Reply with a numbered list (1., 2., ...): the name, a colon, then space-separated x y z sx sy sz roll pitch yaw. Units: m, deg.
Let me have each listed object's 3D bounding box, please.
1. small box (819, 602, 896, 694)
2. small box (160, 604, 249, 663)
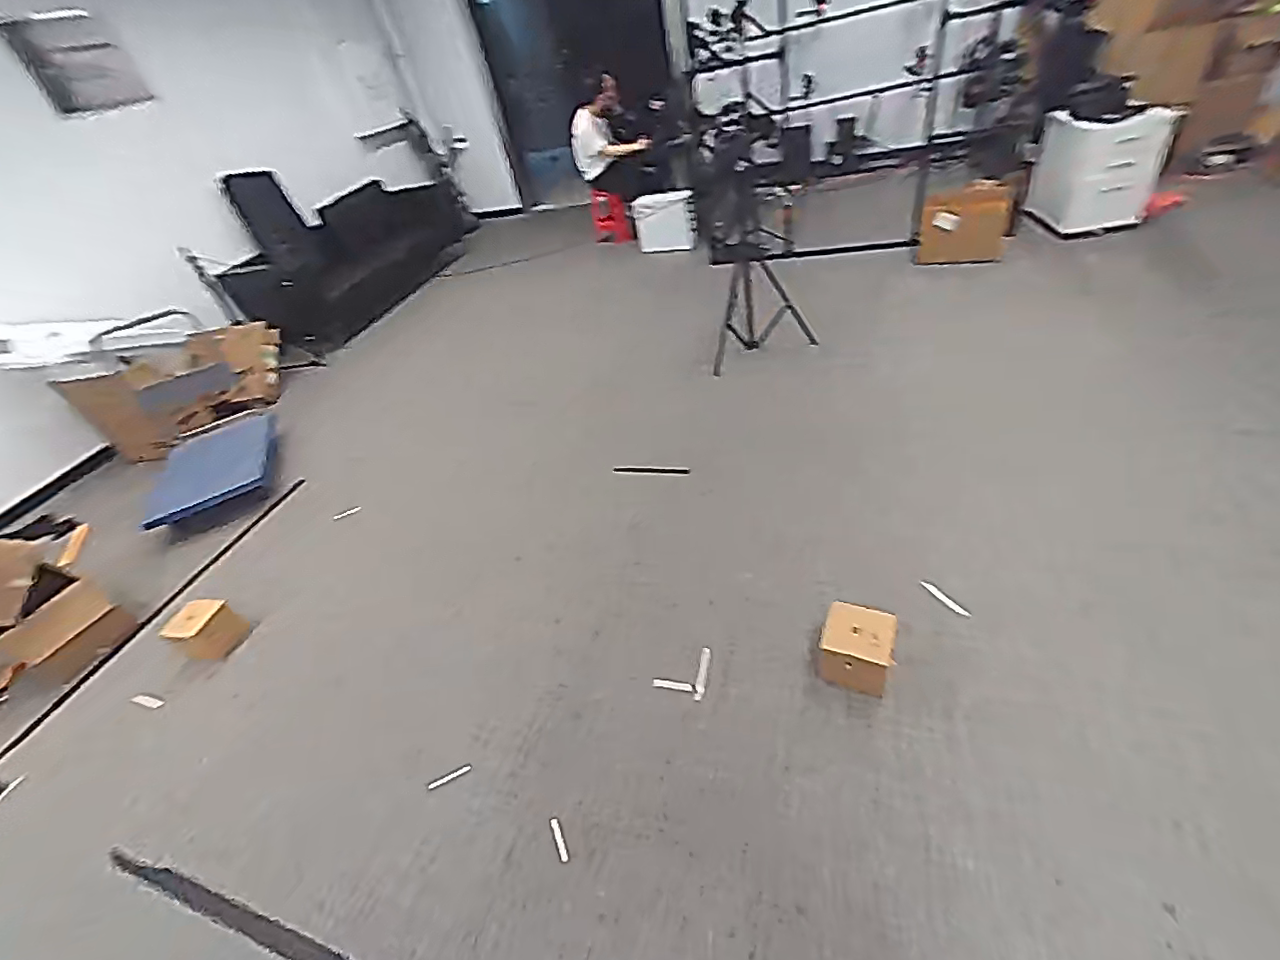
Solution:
1. small box: 0.616 0.478 1.535 0.179 0.176 0.168 10 46 27
2. small box: -1.703 0.606 2.127 0.179 0.176 0.168 -3 41 15
